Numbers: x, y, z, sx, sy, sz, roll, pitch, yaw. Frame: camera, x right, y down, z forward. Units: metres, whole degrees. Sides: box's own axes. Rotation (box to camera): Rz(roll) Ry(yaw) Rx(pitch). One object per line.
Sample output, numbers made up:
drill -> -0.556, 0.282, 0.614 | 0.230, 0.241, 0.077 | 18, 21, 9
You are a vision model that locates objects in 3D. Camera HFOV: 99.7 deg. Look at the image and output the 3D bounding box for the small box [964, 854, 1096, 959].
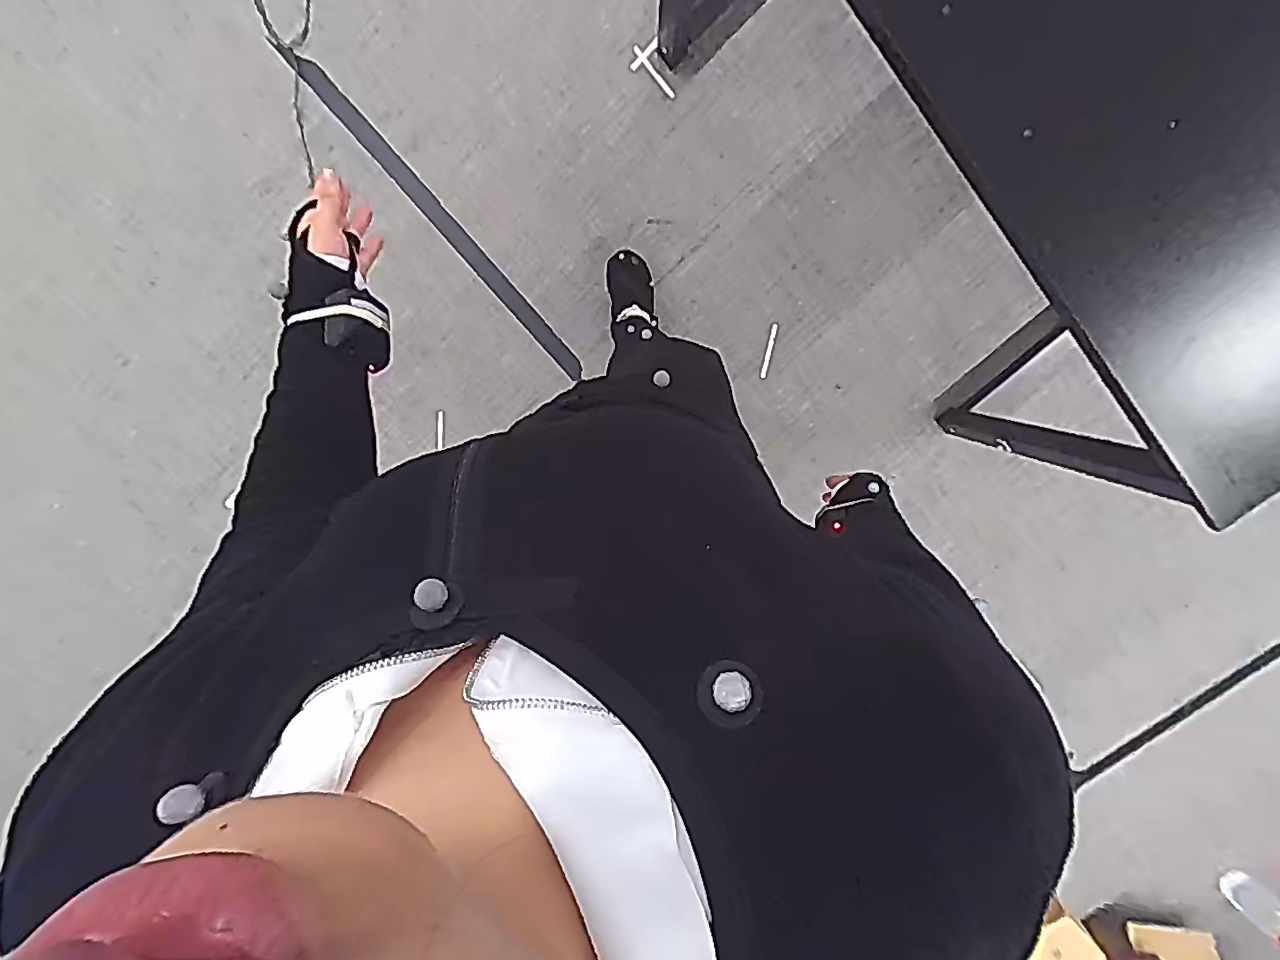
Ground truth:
small box -> 0.967, 1.089, 1.359 | 0.168, 0.176, 0.179 | -41, 101, 10
